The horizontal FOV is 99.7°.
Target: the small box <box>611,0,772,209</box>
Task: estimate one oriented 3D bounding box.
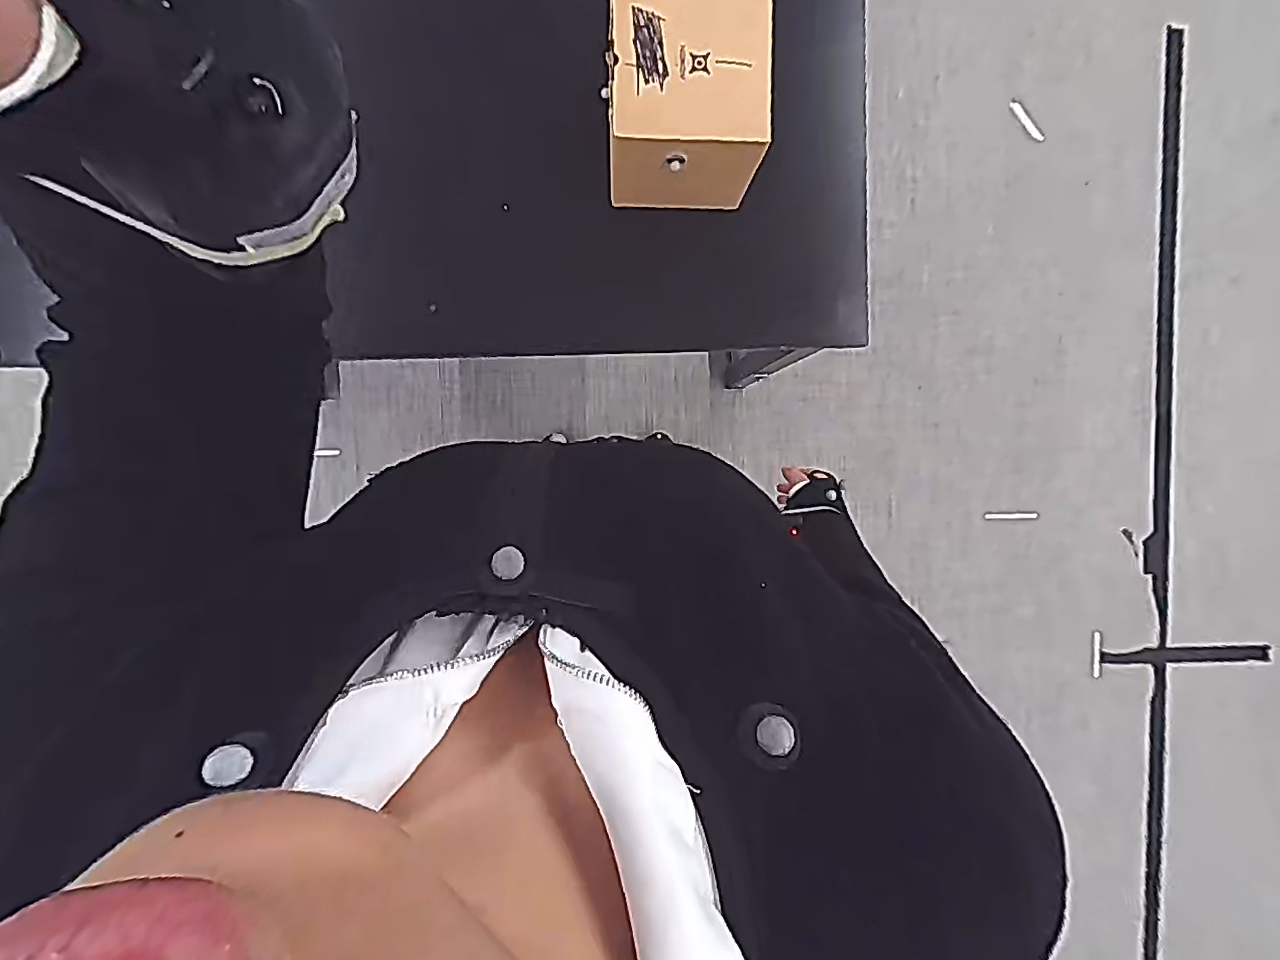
[{"bbox_3d":[0.054,-0.457,0.673,0.179,0.176,0.168,0,93,-3],"label":"small box"}]
